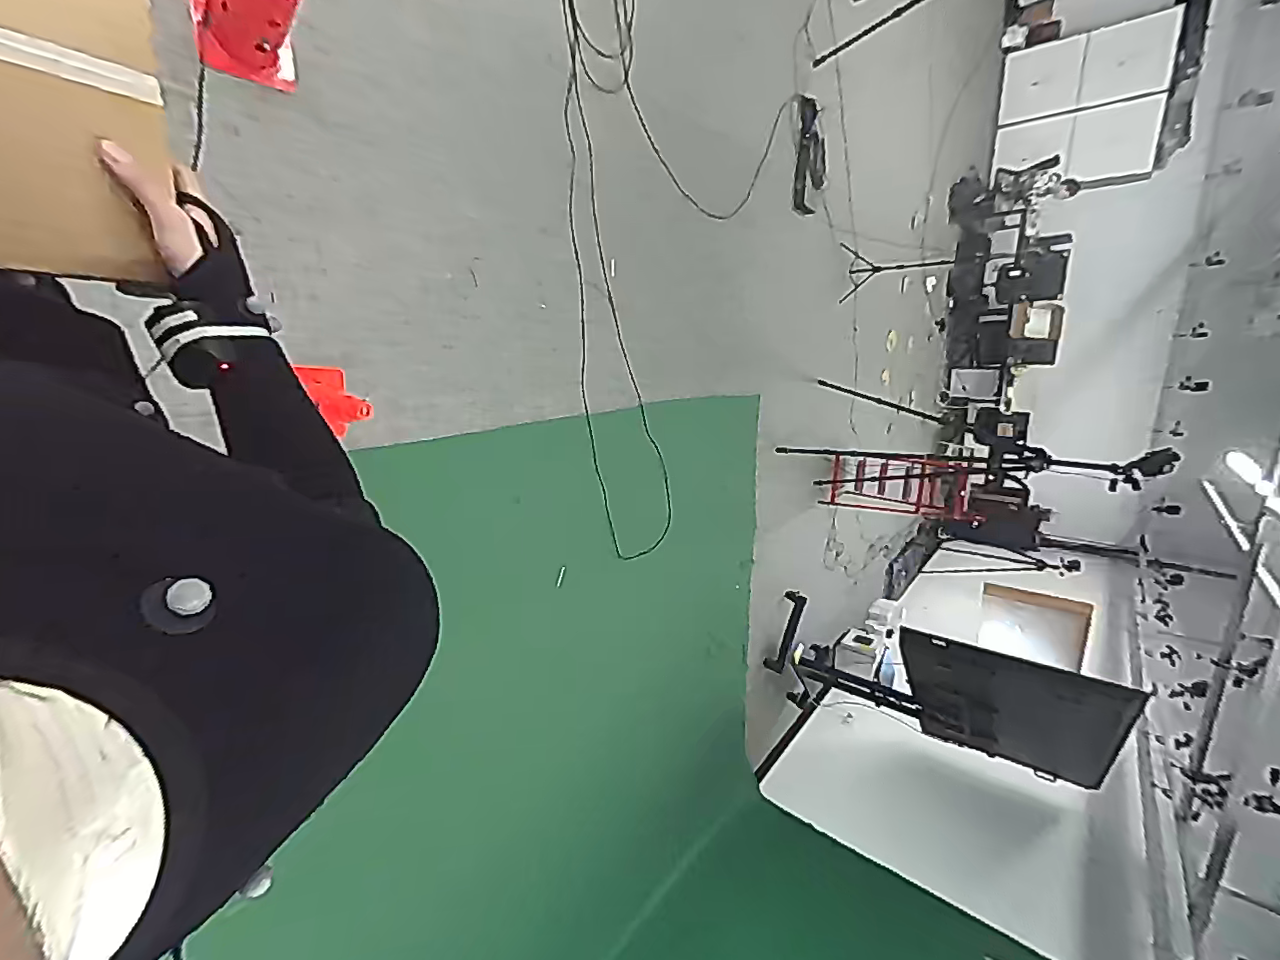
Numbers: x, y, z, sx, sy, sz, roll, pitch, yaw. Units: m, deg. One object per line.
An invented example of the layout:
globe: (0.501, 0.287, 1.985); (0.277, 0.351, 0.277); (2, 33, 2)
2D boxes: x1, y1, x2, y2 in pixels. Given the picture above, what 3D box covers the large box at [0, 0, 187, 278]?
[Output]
large box: (-0.658, -0.339, 0.412); (0.408, 0.320, 0.320); (-13, 115, -49)
